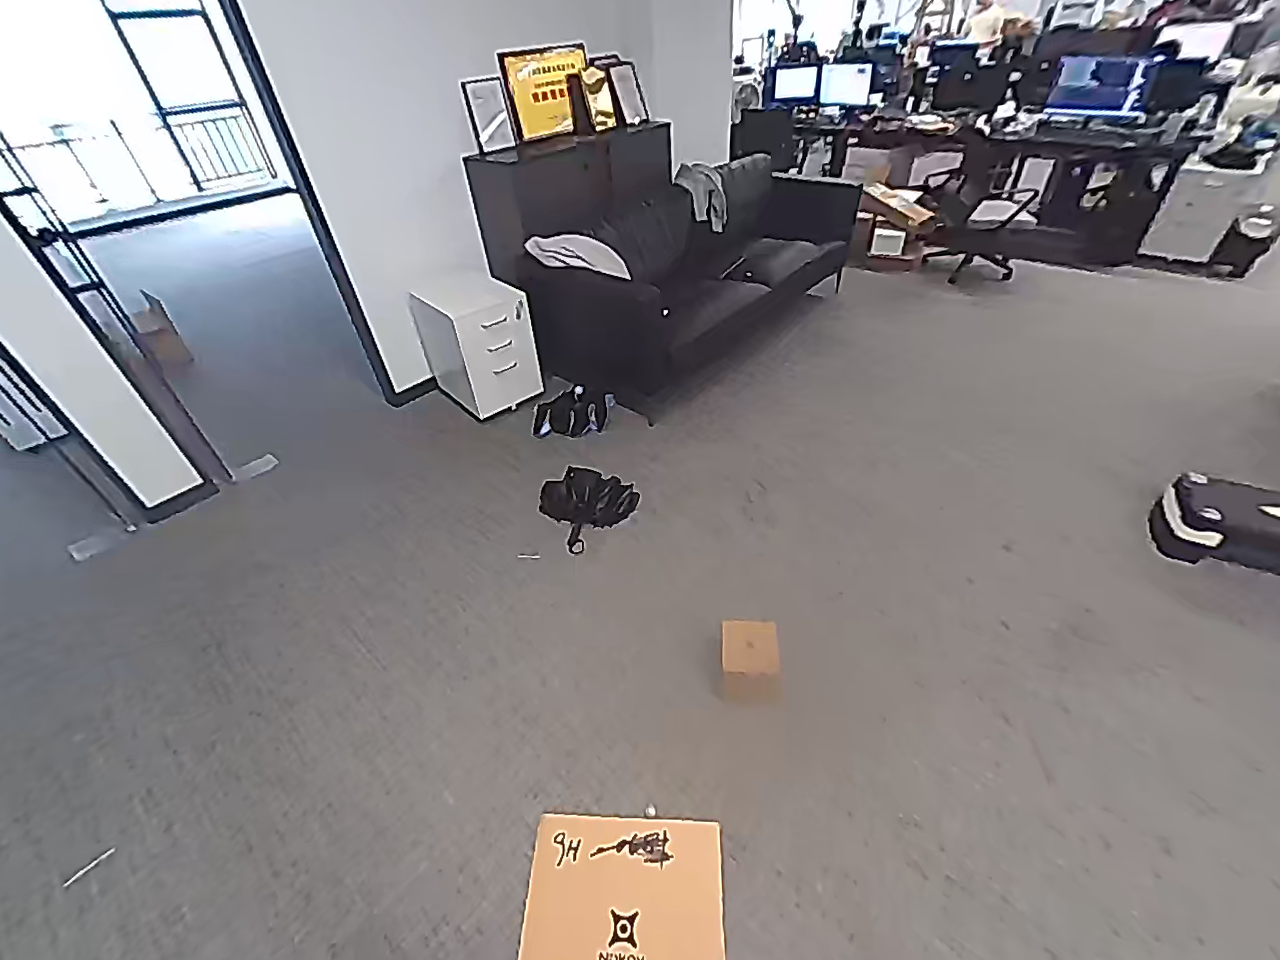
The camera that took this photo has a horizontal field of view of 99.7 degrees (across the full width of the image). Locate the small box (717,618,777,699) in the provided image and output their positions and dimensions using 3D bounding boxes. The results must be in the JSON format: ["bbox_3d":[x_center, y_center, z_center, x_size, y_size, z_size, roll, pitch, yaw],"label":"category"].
[{"bbox_3d":[0.323,0.549,1.655,0.168,0.176,0.179,2,39,6],"label":"small box"}]
